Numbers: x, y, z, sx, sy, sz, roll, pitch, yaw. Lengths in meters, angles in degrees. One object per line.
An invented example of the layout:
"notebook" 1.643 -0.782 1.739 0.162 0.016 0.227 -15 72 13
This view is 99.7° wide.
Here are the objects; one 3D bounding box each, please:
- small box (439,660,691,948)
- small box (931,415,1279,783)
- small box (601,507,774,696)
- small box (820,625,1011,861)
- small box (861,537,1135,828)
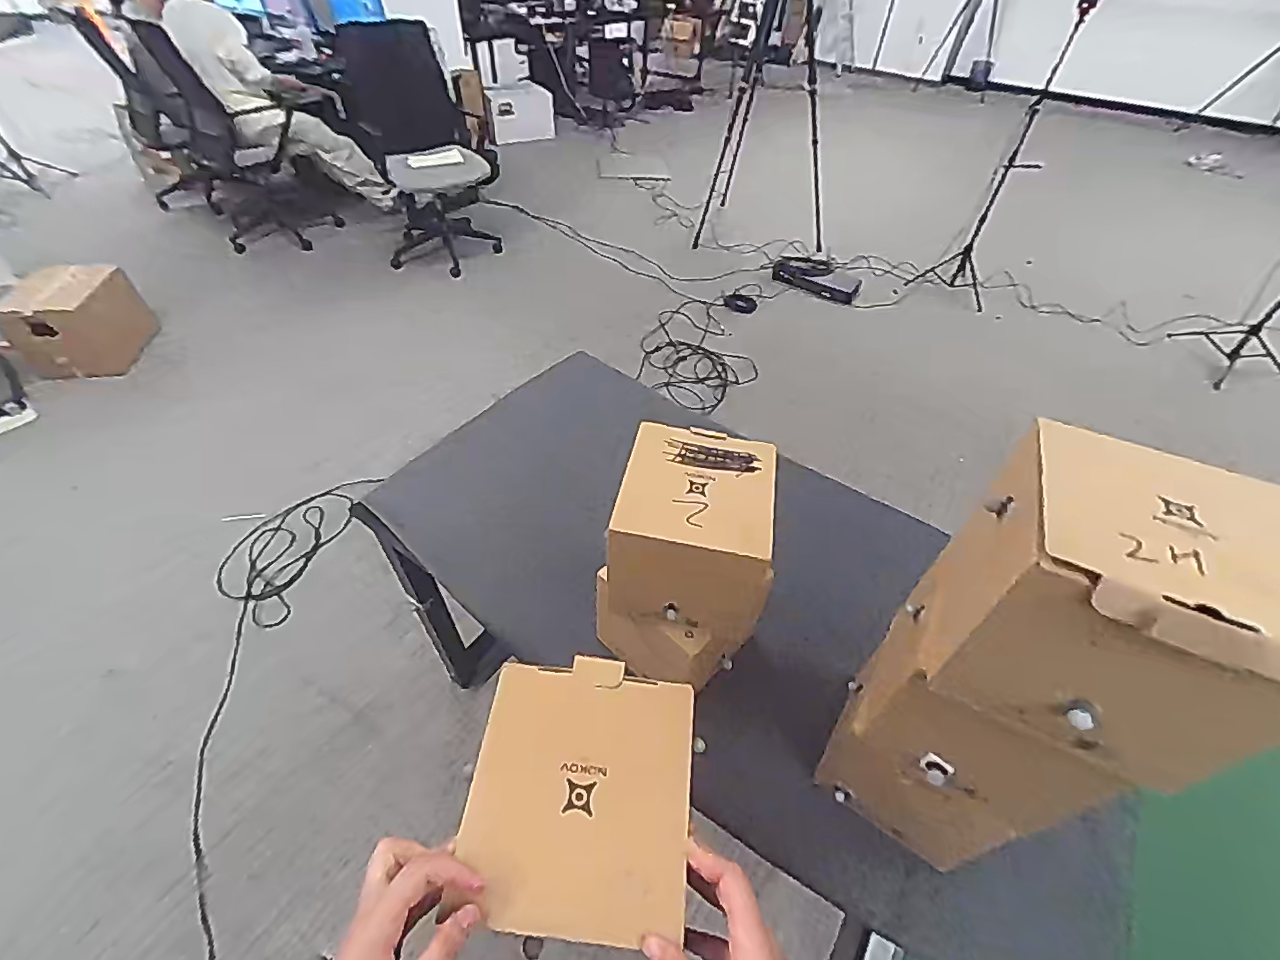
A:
"small box" -0.048 0.278 0.469 0.168 0.176 0.179 6 51 1
"small box" 0.345 0.084 0.411 0.168 0.176 0.179 22 47 19
"small box" 0.056 0.177 0.763 0.168 0.176 0.179 36 52 28
"small box" 0.335 0.310 0.649 0.168 0.176 0.179 28 48 23
"small box" 0.340 0.196 0.534 0.168 0.176 0.179 25 49 21
